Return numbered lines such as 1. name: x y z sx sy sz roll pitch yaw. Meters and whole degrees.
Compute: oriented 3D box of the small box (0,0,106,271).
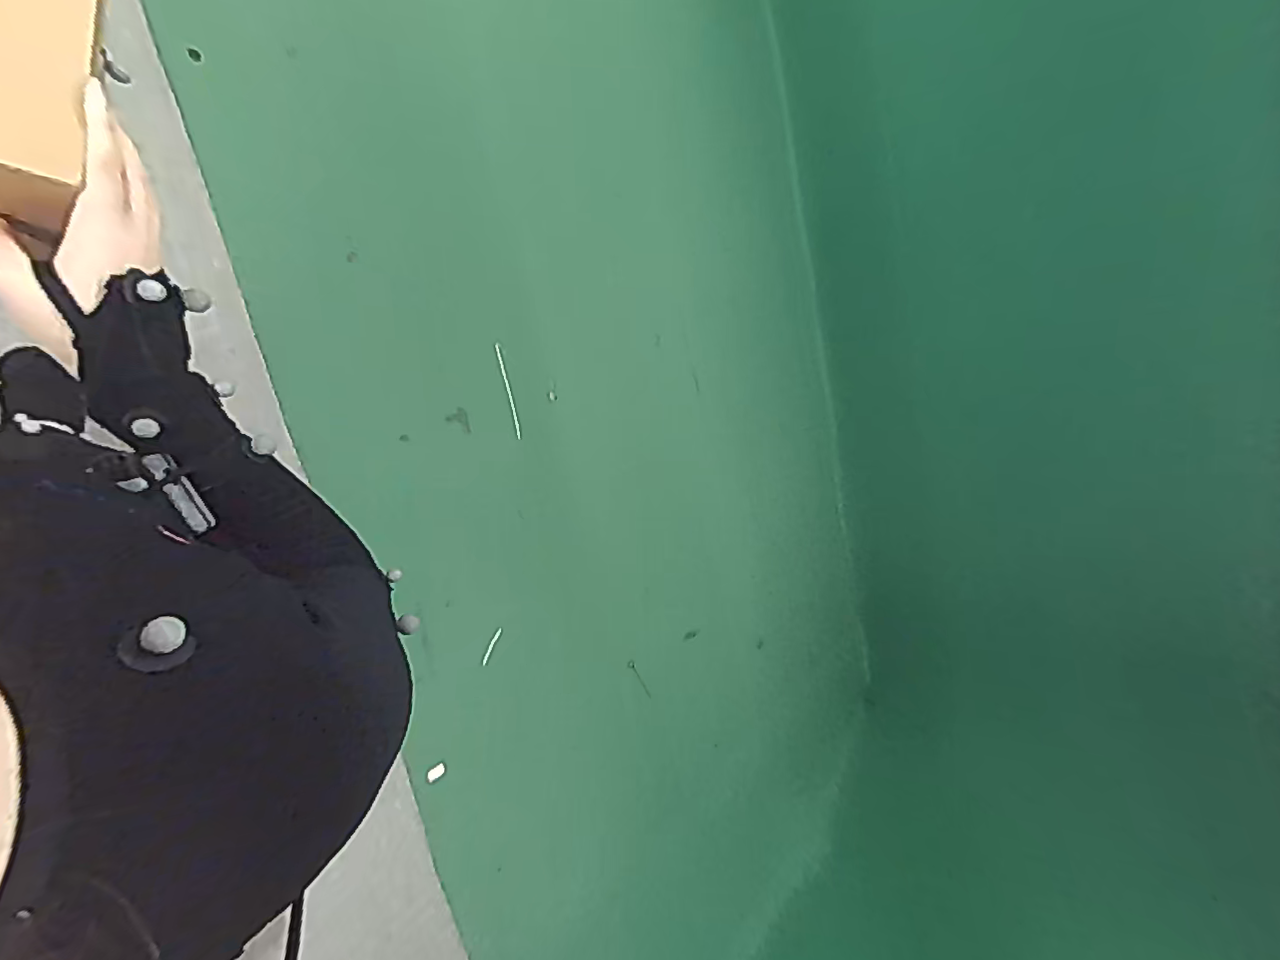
1. small box: -0.414 -0.248 0.295 0.168 0.176 0.179 4 81 -45
